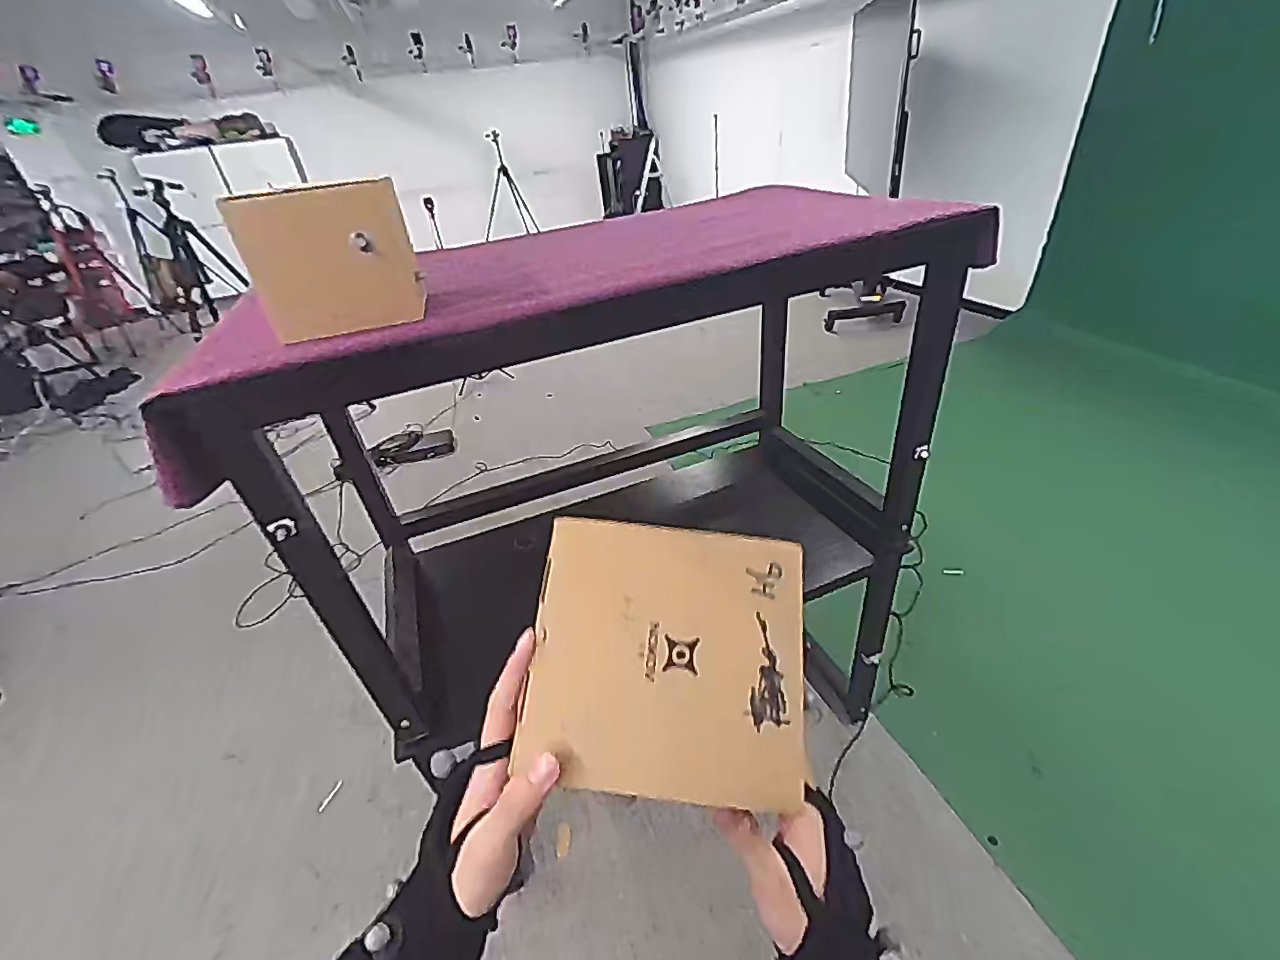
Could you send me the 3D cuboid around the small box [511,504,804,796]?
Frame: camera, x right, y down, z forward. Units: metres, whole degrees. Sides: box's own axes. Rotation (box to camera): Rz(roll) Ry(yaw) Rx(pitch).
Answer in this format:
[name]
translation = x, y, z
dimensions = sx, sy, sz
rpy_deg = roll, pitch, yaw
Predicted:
[small box]
translation = 0.019, 0.131, 0.420
dimensions = 0.179, 0.176, 0.168
rpy_deg = 6, 67, 3
